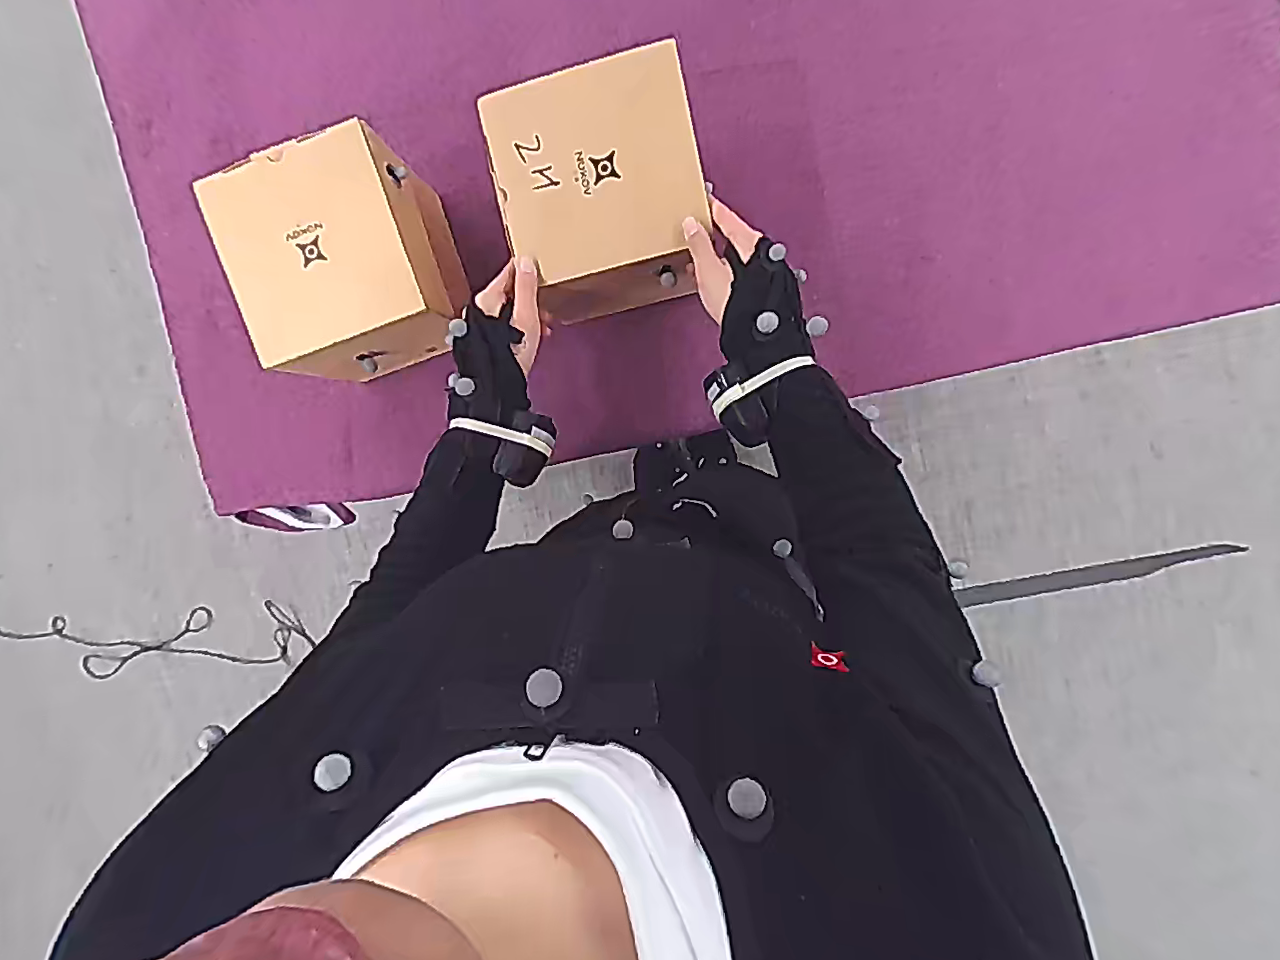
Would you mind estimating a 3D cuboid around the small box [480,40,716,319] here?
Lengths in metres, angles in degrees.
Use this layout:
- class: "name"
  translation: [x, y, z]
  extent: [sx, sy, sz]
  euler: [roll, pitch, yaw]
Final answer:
- class: "small box"
  translation: [-0.029, -0.270, 0.533]
  extent: [0.179, 0.176, 0.168]
  euler: [-12, 95, 7]

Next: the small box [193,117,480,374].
- class: "small box"
  translation: [-0.289, -0.216, 0.559]
  extent: [0.168, 0.176, 0.179]
  euler: [-19, 94, 4]
